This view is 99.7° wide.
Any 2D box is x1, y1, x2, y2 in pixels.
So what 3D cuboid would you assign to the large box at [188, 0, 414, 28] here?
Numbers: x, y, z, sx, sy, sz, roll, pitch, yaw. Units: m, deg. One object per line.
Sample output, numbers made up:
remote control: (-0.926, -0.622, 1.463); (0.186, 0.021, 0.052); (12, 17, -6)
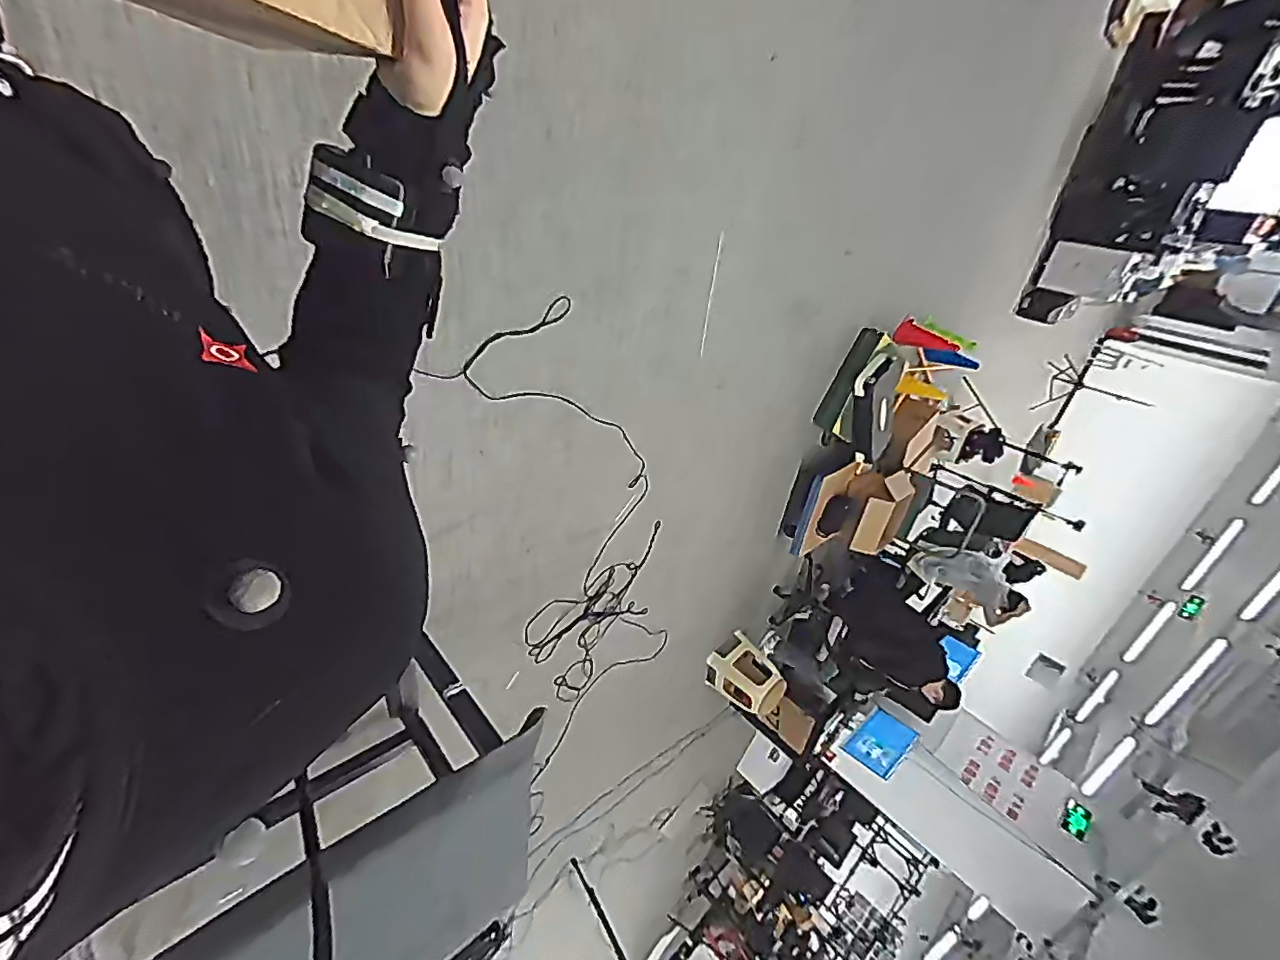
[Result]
large box: (-0.330, -0.432, 0.190); (0.408, 0.320, 0.320); (-10, 127, -45)
